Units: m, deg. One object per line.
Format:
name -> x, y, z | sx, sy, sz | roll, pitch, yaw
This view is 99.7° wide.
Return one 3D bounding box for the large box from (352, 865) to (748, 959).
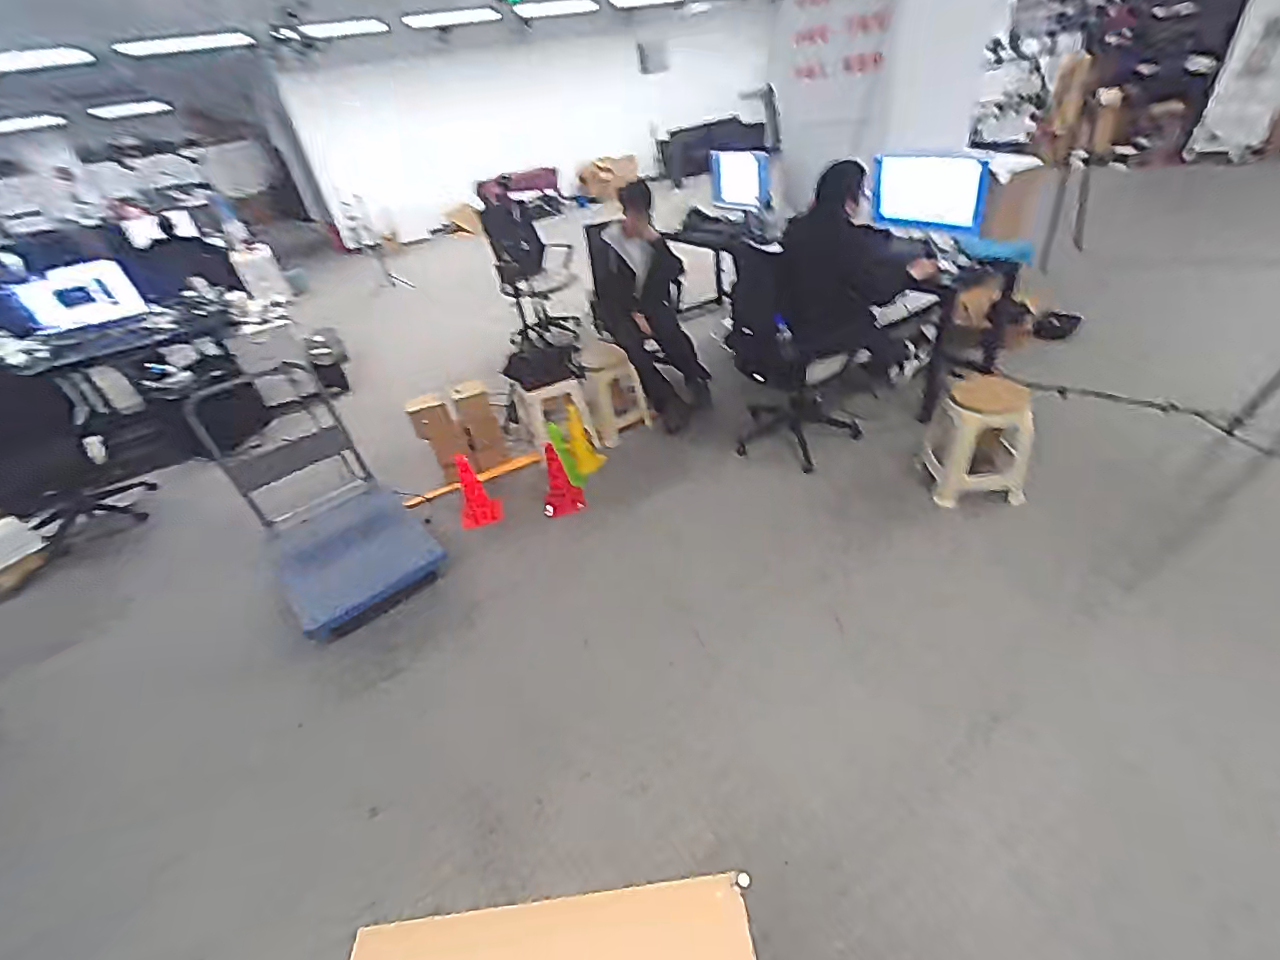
large box -> -0.076, 0.662, 0.551 | 0.408, 0.320, 0.320 | -5, 37, -6
